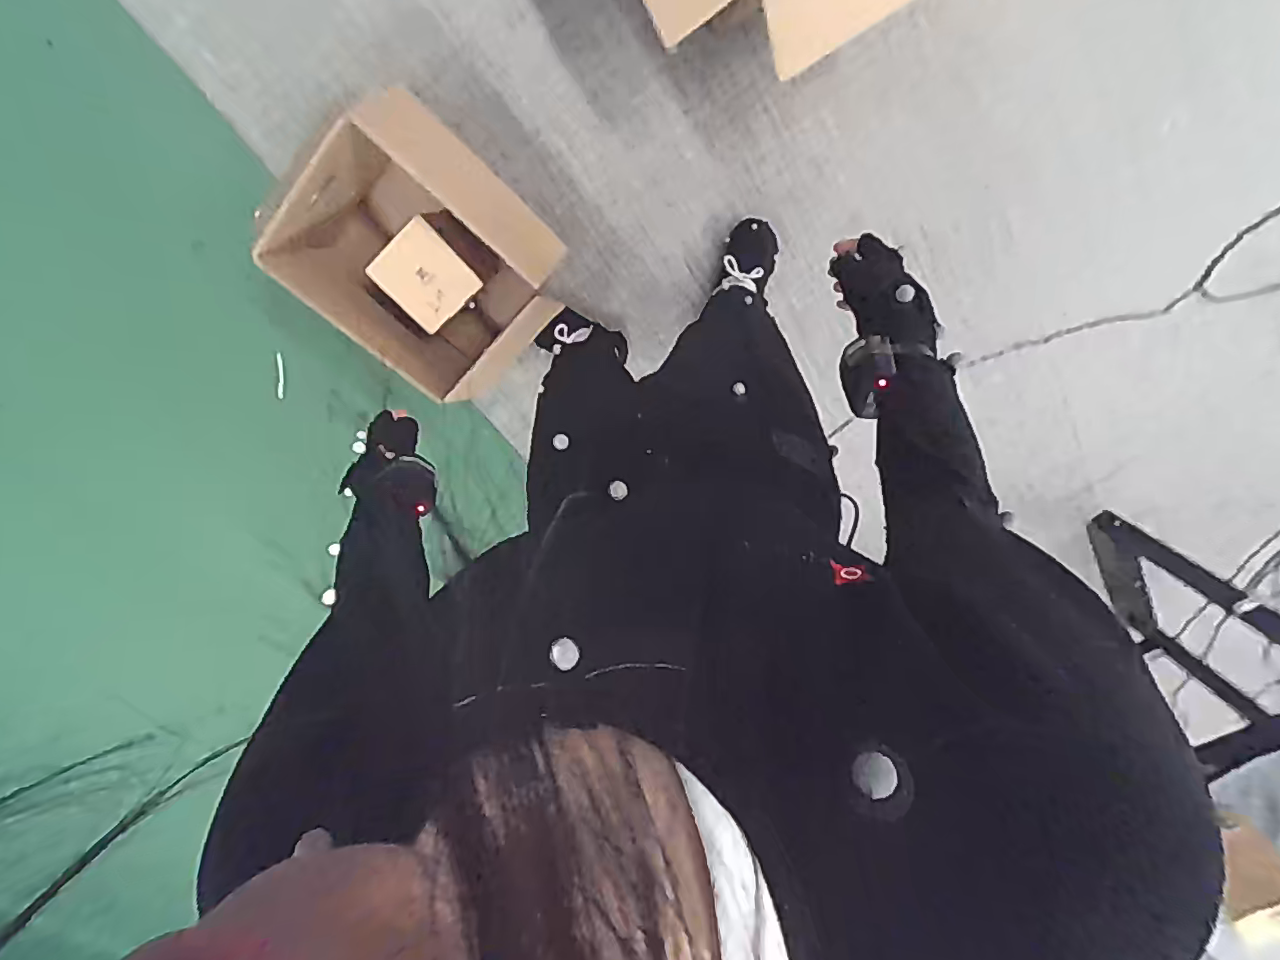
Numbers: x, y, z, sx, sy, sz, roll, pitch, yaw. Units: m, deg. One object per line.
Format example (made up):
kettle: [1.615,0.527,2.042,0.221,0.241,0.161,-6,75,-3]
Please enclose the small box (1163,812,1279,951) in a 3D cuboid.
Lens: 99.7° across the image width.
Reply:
small box: [1.276,0.844,1.148,0.168,0.176,0.179,-37,114,15]
